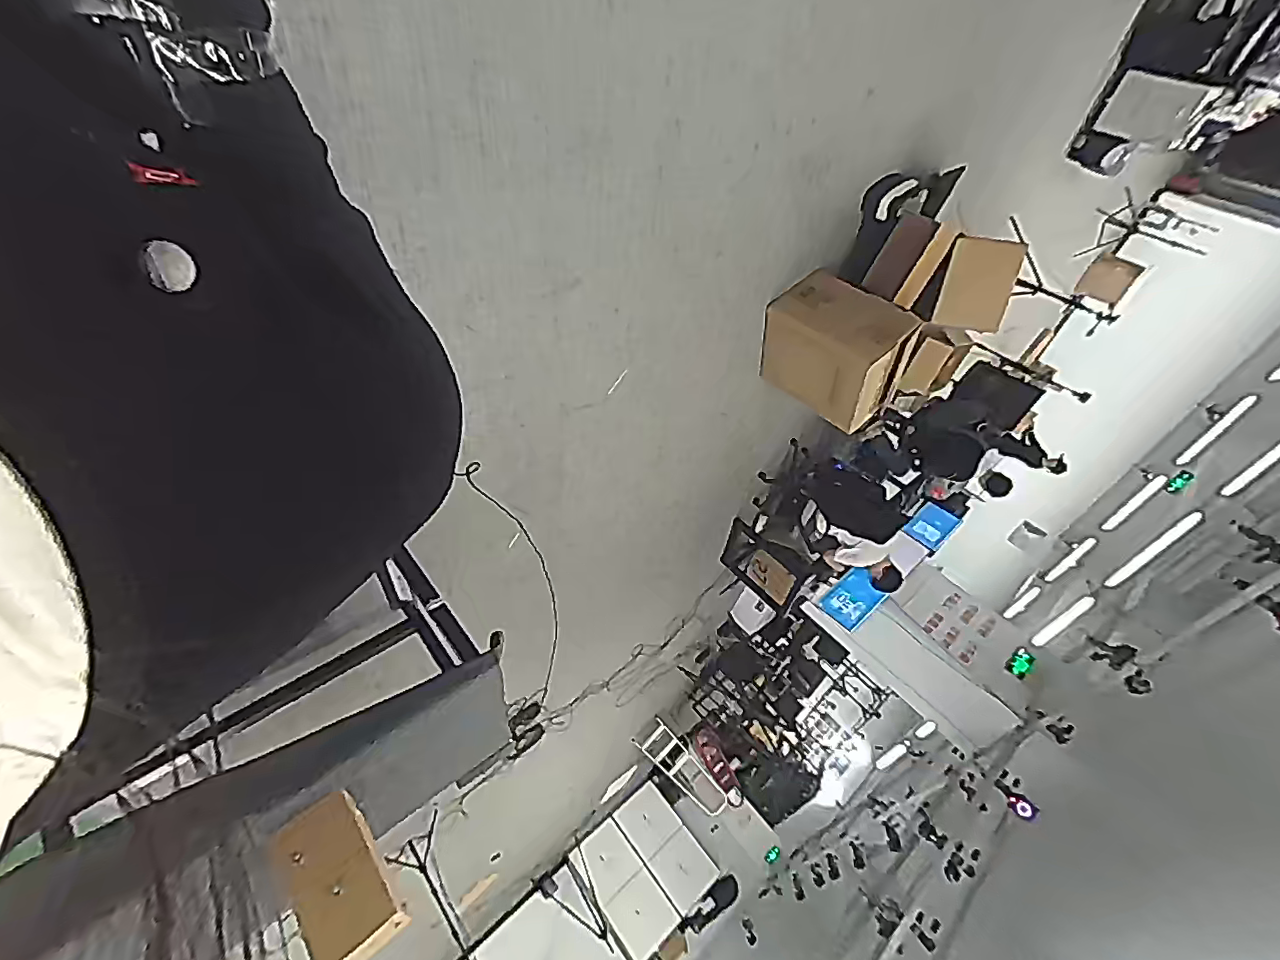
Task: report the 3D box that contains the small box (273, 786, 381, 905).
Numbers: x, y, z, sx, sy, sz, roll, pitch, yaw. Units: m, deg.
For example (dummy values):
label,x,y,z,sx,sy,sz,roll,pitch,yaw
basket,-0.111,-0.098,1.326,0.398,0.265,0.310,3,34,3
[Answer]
label,x,y,z,sx,sy,sz,roll,pitch,yaw
small box,-0.774,0.908,1.338,0.179,0.176,0.168,-31,149,-32

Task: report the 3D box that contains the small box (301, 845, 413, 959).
label,x,y,z,sx,sy,sz,roll,pitch,yaw
small box,-0.665,1.008,1.268,0.179,0.176,0.168,-29,148,-31
